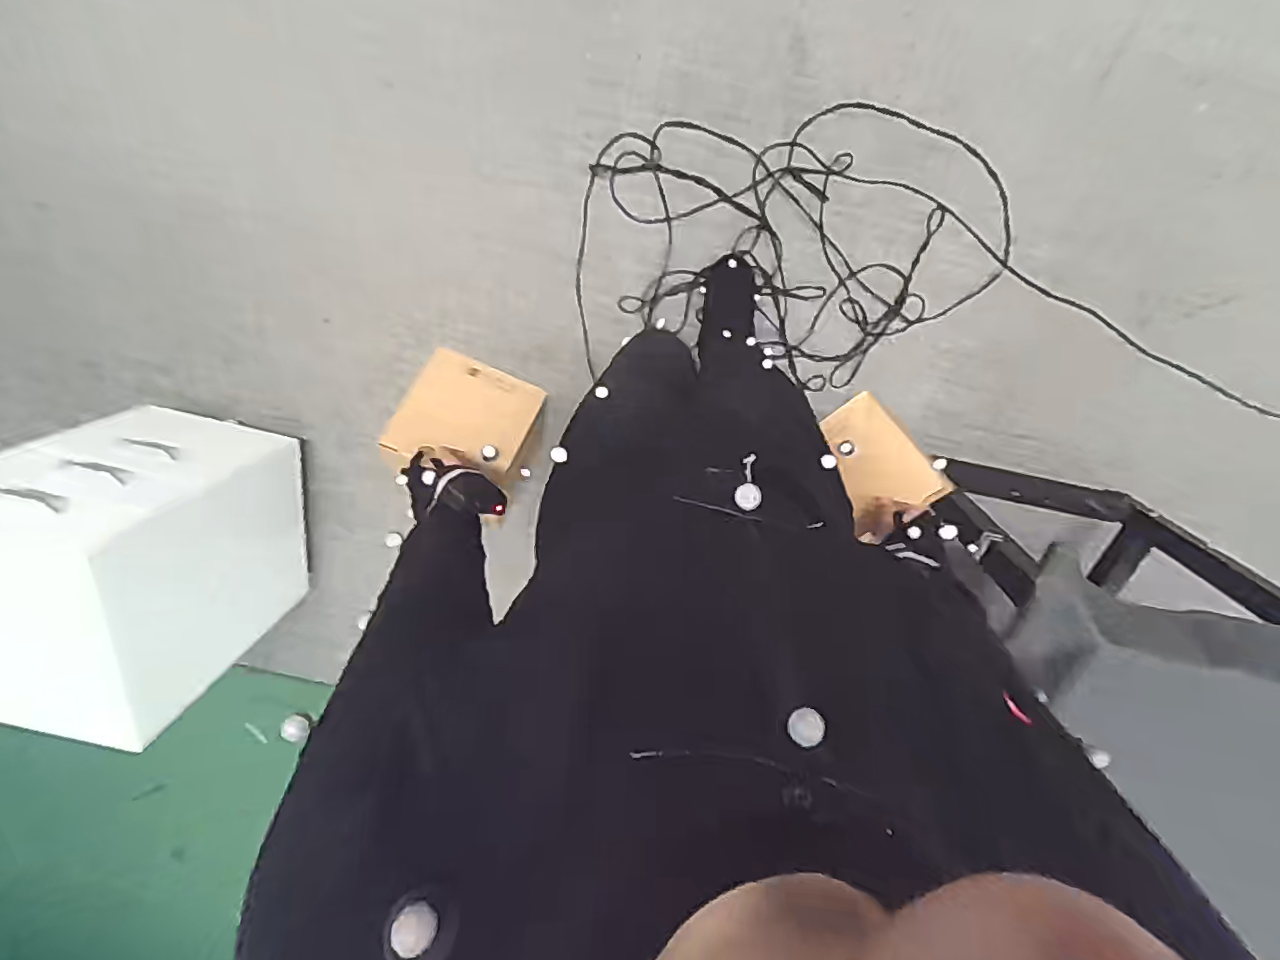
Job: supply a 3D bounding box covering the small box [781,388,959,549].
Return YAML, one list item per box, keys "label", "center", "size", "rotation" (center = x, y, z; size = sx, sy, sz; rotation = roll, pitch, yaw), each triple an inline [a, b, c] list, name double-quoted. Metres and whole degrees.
- label: "small box"
  center: [0.342, -0.016, 0.805]
  size: [0.168, 0.179, 0.176]
  rotation: [-39, 69, 26]
